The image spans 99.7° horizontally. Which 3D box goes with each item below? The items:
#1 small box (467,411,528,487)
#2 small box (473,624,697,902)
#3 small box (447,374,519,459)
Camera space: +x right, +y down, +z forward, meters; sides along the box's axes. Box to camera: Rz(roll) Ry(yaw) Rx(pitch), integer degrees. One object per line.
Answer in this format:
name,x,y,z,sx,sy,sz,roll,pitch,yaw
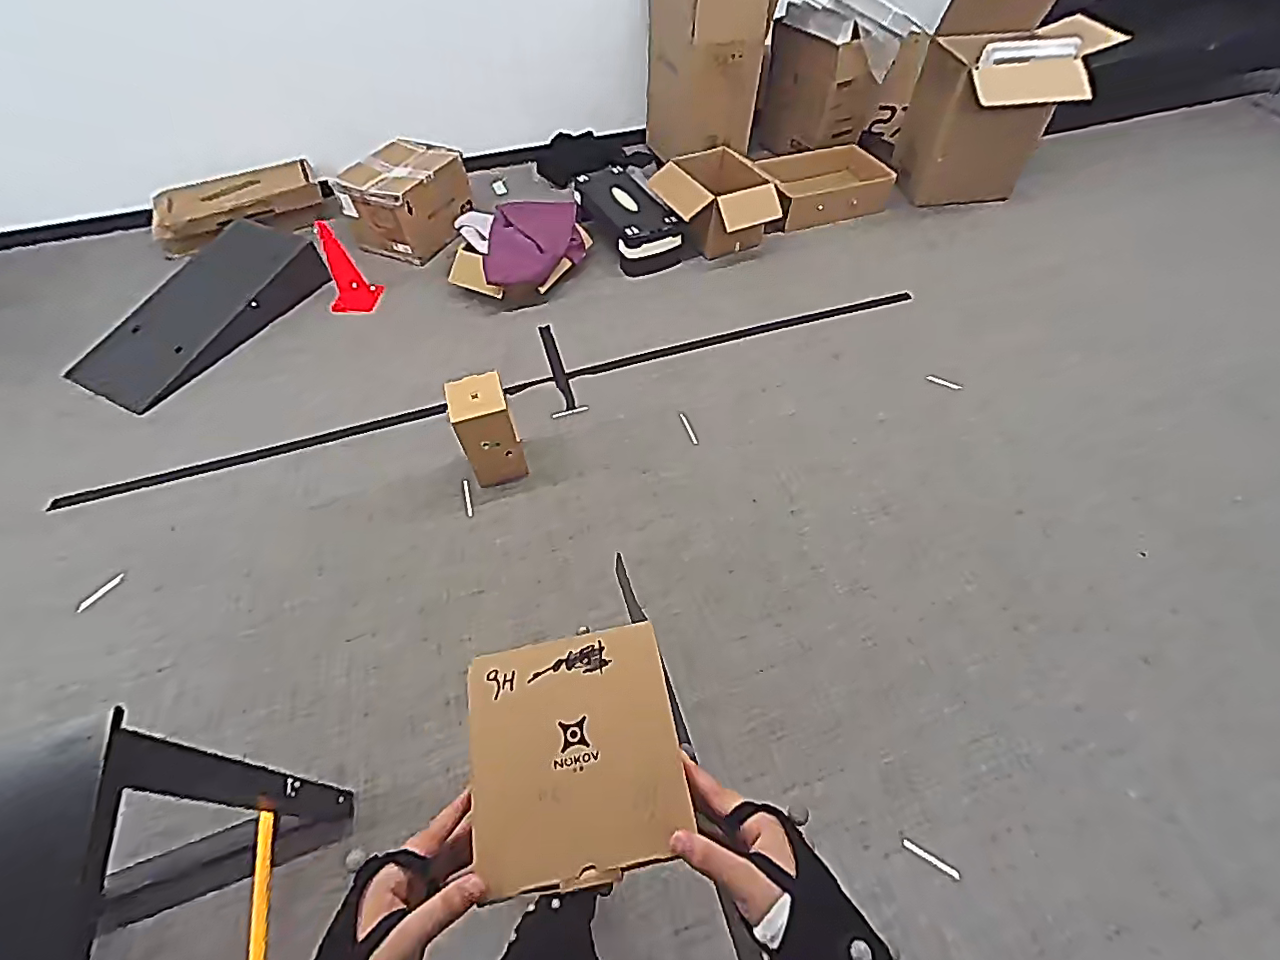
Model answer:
small box,-0.481,-0.102,1.811,0.179,0.176,0.168,-17,55,-11
small box,-0.046,0.255,0.504,0.168,0.176,0.179,-11,59,-4
small box,-0.485,-0.194,1.678,0.168,0.176,0.179,-17,56,-9
